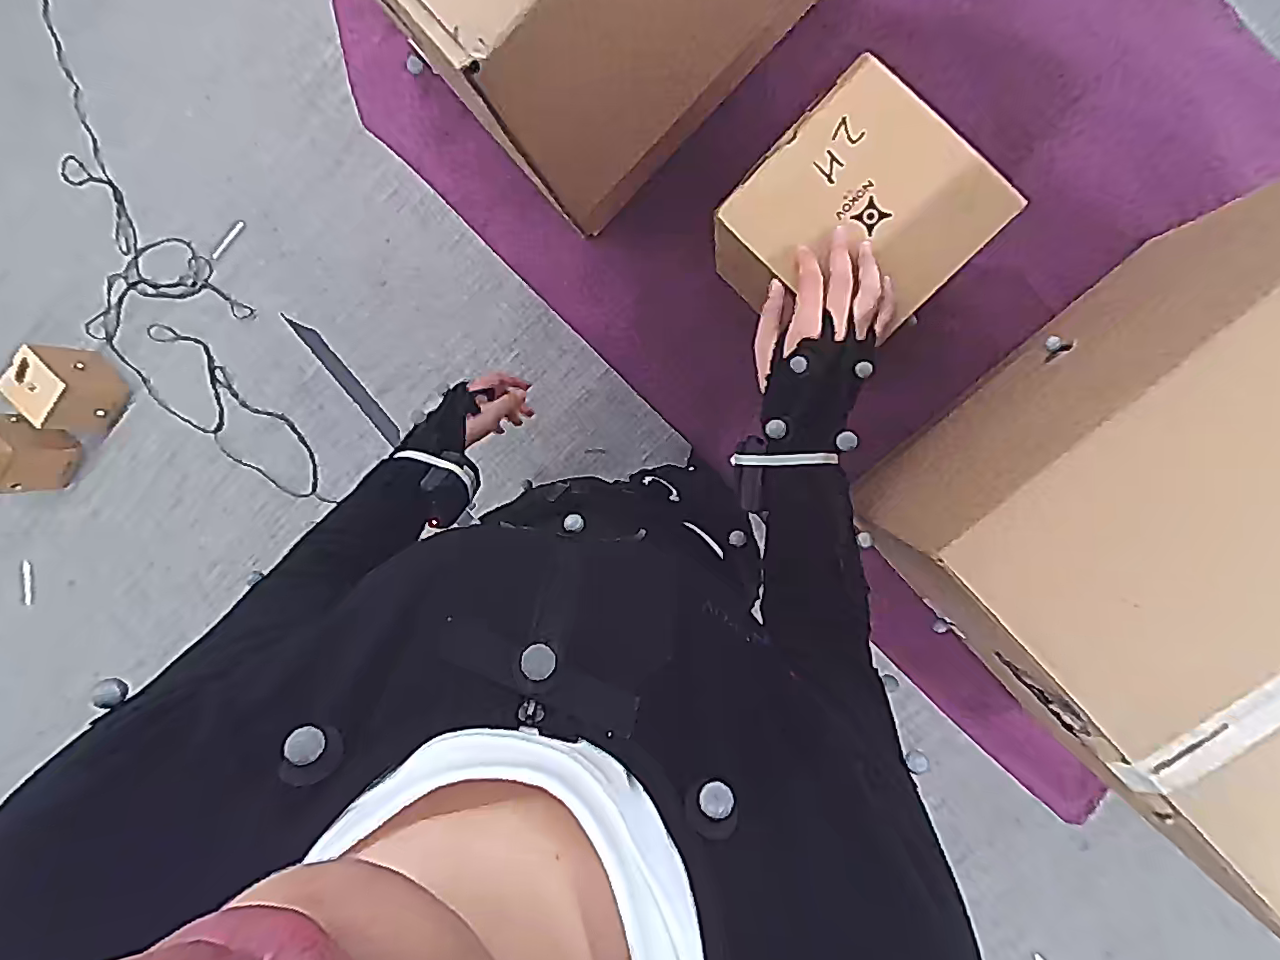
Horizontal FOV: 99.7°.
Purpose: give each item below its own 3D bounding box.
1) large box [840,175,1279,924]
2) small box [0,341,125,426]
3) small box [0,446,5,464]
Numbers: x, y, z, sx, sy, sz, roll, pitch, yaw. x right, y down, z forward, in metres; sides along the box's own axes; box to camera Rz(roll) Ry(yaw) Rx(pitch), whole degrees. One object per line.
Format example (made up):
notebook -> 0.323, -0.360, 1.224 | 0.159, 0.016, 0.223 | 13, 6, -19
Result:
large box -> 0.434, 0.016, 0.408 | 0.408, 0.320, 0.320 | -43, 87, 9
small box -> -1.656, -0.268, 1.549 | 0.179, 0.176, 0.168 | 44, 101, 3
small box -> -1.874, -0.069, 1.439 | 0.168, 0.176, 0.179 | 41, 100, 5
